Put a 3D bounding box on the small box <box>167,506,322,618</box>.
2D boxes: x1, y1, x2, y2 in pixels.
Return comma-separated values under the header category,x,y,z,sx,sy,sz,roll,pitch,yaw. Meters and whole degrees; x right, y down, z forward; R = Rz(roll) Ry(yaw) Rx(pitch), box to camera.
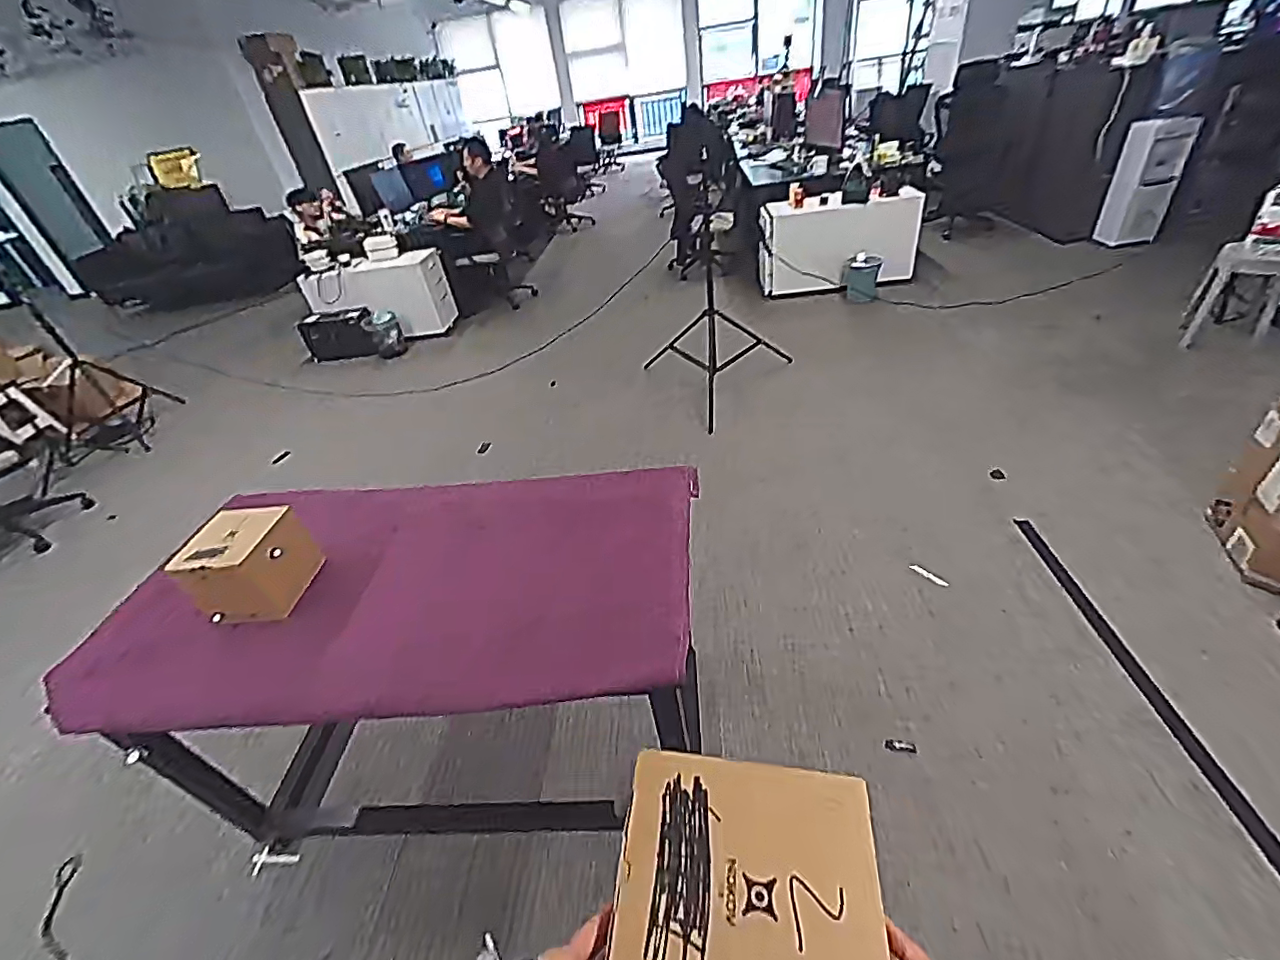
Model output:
category,x,y,z,sx,sy,sz,roll,pitch,yaw
small box,-0.819,0.178,1.147,0.168,0.176,0.179,-4,37,6
